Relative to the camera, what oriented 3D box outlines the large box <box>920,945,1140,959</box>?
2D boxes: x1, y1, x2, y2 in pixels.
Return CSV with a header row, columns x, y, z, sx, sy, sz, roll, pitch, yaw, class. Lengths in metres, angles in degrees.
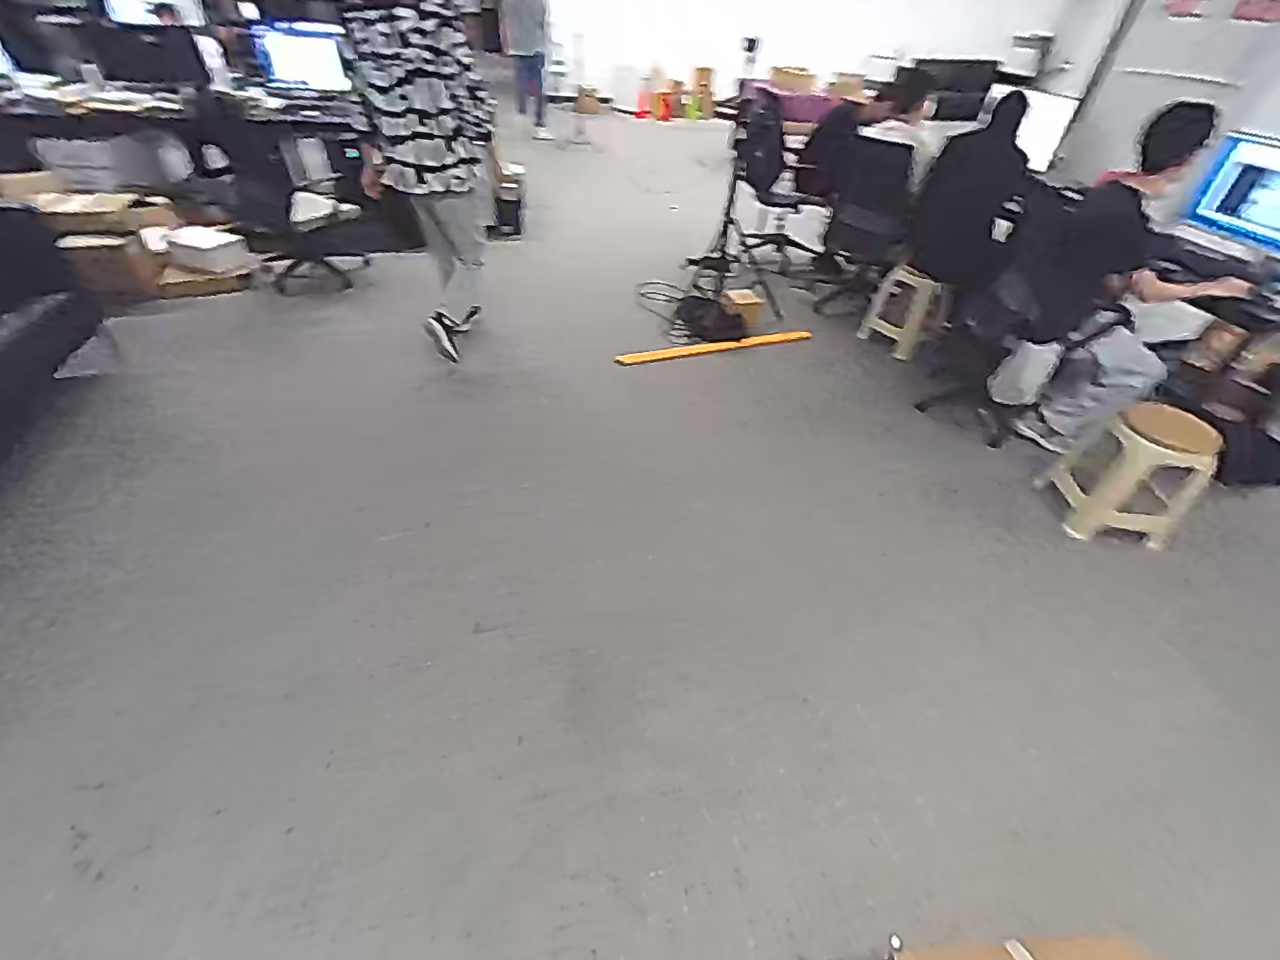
x,y,z,sx,sy,sz,roll,pitch,yaw,class
0.501,0.769,0.512,0.320,0.408,0.320,-4,87,1,large box
